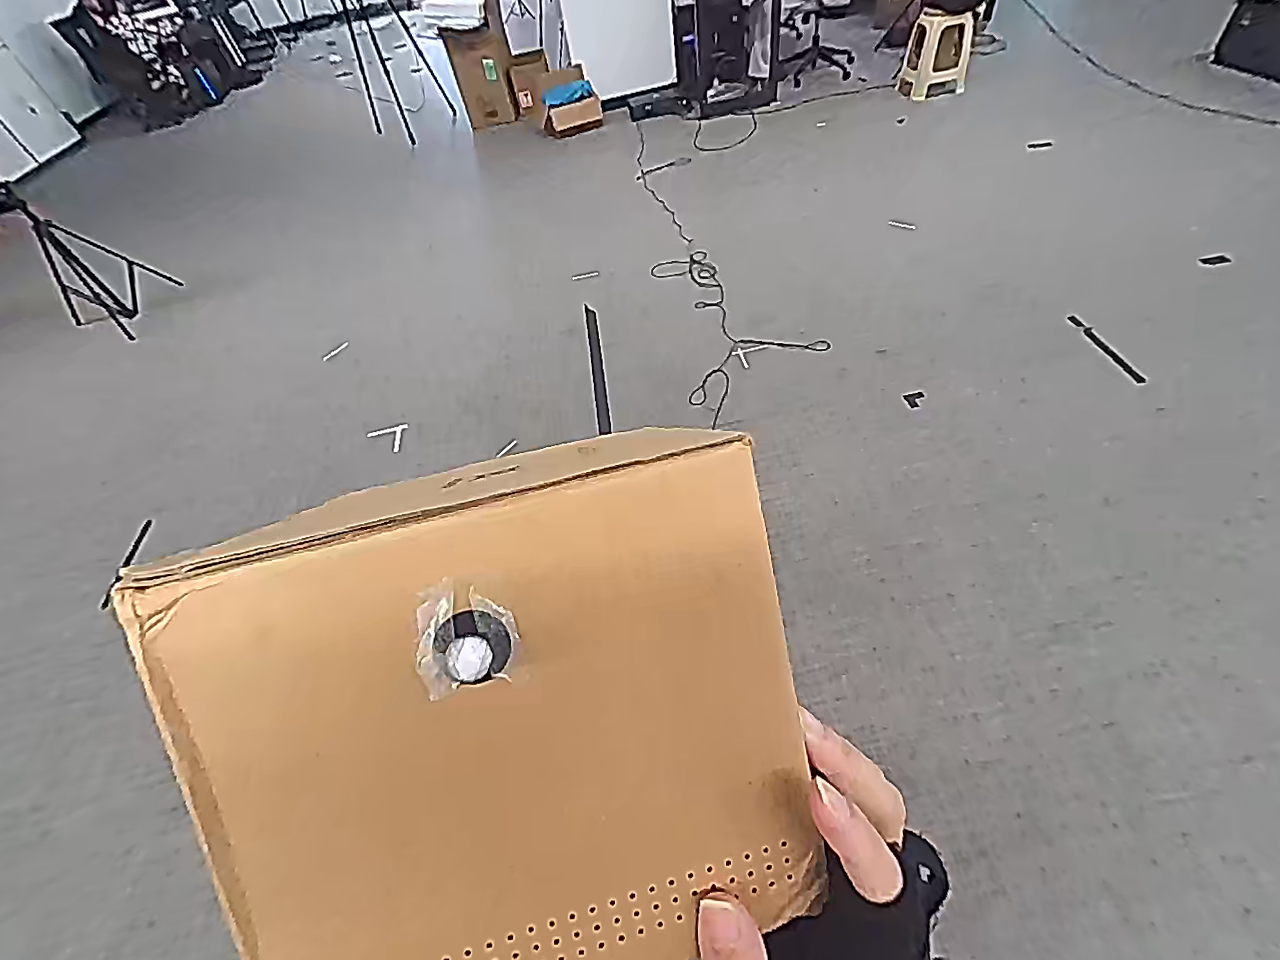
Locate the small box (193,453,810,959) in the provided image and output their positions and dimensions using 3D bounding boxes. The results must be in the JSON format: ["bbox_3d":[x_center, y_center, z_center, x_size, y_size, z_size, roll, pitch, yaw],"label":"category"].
[{"bbox_3d":[-0.044,0.089,0.256,0.179,0.176,0.168,-13,8,-8],"label":"small box"}]
